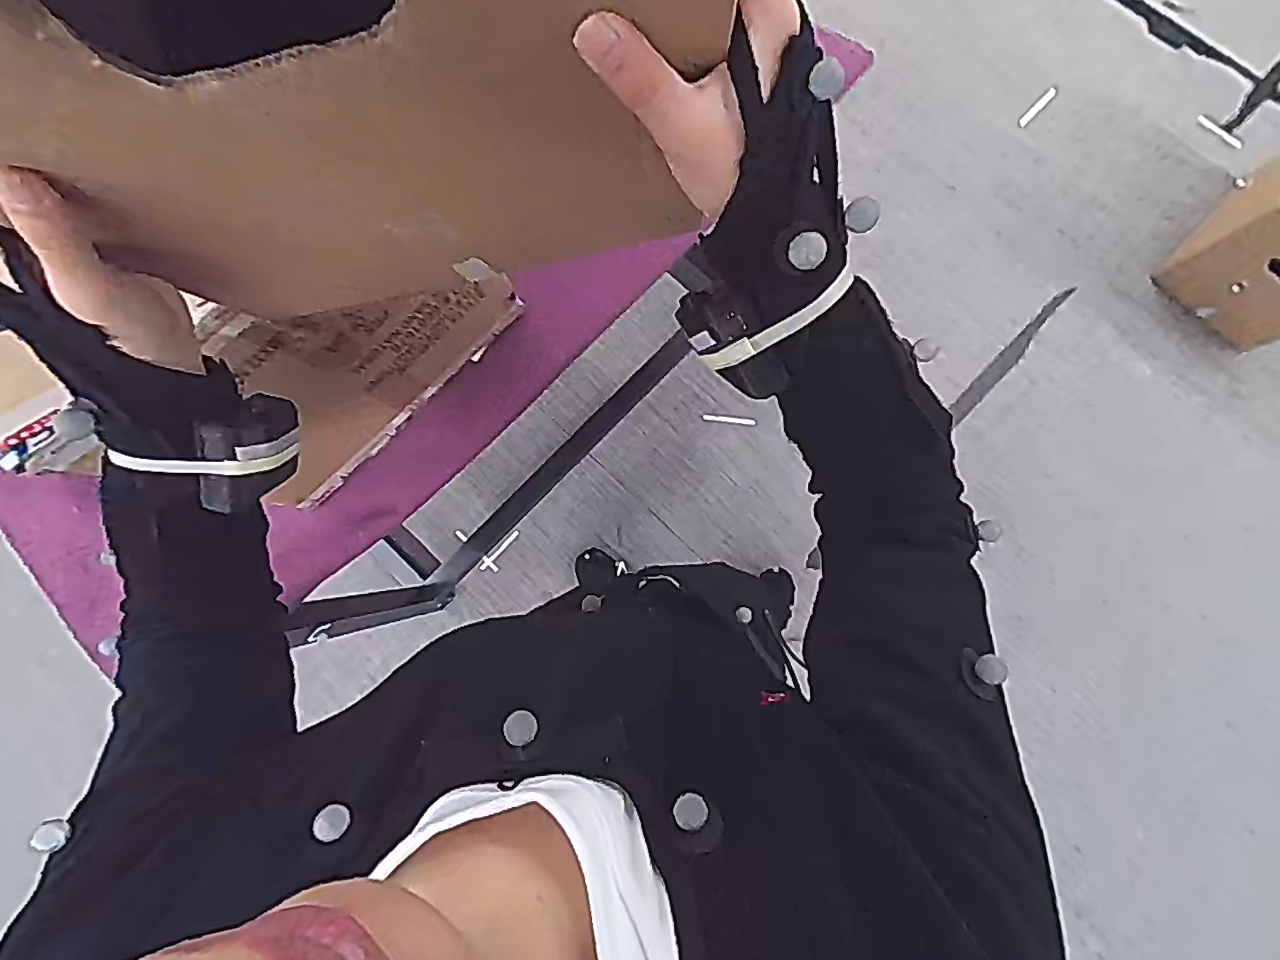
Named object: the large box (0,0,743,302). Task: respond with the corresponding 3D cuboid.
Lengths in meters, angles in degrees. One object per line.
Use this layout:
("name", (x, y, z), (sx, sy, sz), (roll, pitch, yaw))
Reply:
("large box", (-0.149, -0.339, 0.216), (0.320, 0.320, 0.408), (-12, 92, 4))
